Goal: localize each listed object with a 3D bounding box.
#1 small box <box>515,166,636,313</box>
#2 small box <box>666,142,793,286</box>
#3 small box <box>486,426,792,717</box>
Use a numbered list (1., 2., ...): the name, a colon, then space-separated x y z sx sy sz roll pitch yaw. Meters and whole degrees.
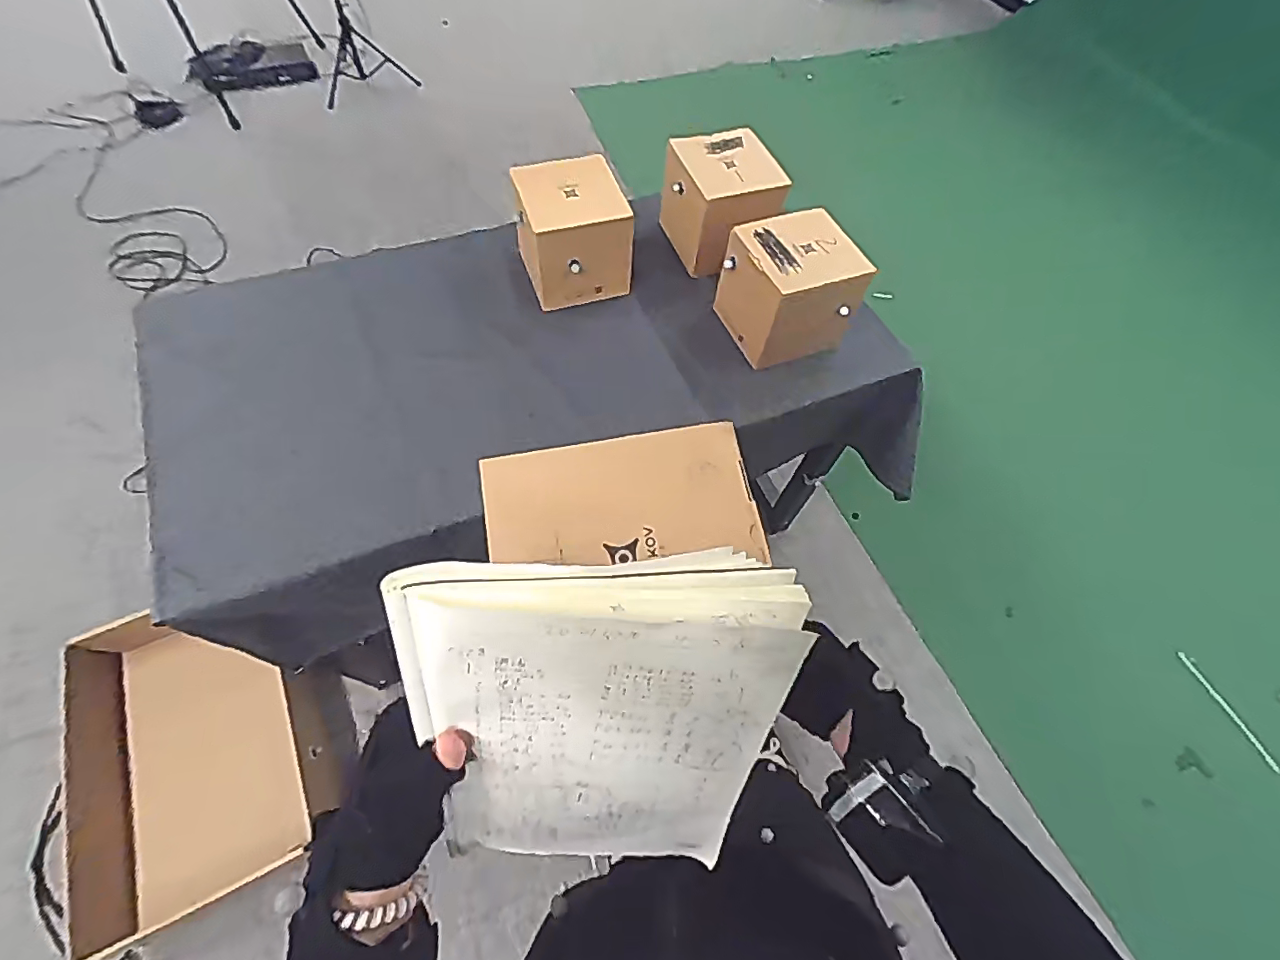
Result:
1. small box: -0.113 -0.419 0.964 0.168 0.176 0.179 -16 63 -13
2. small box: 0.157 -0.503 1.029 0.168 0.176 0.179 -16 64 -12
3. small box: -0.009 0.076 0.417 0.179 0.176 0.168 -8 70 -5
